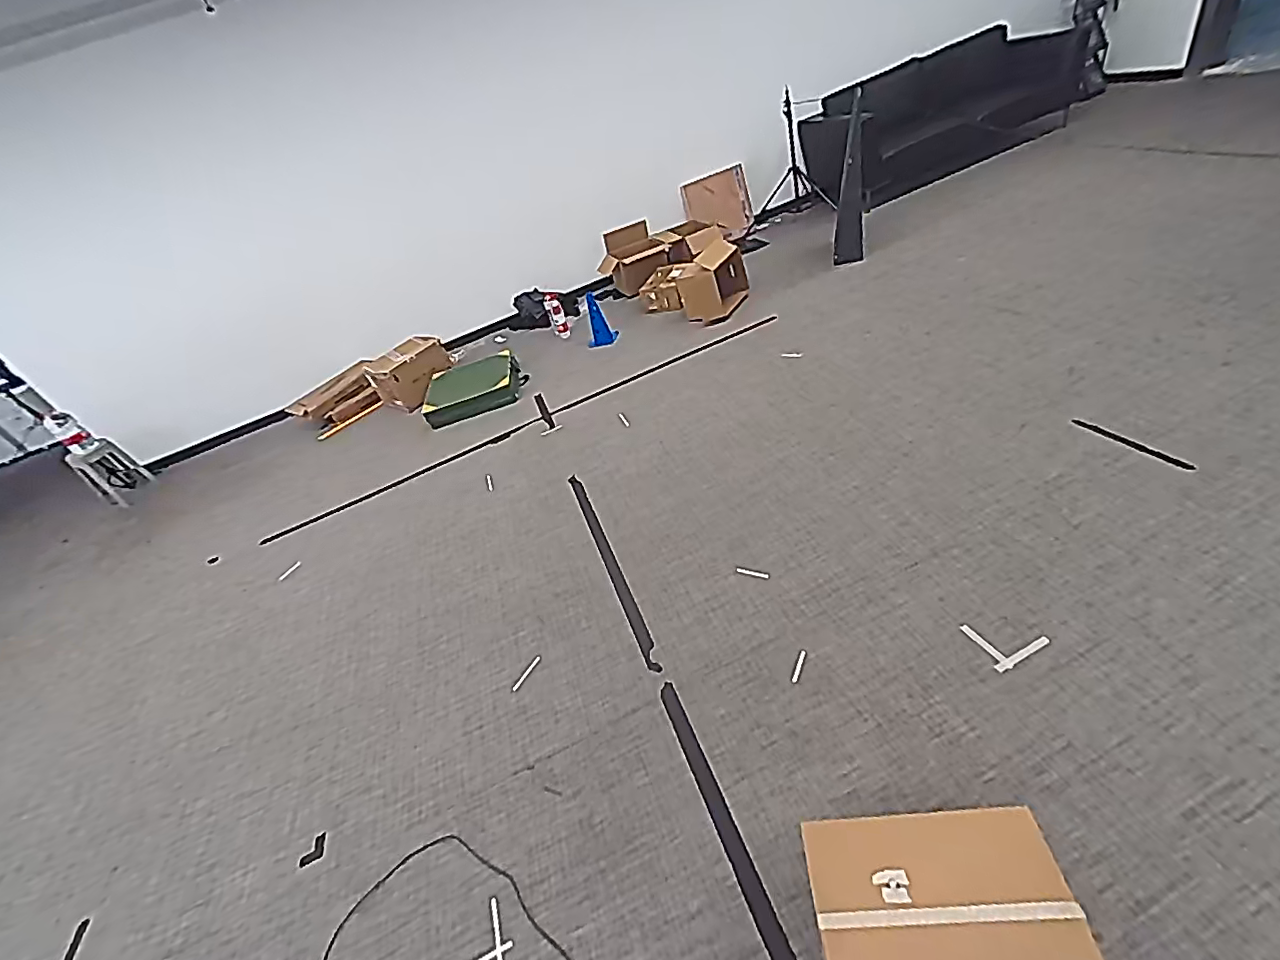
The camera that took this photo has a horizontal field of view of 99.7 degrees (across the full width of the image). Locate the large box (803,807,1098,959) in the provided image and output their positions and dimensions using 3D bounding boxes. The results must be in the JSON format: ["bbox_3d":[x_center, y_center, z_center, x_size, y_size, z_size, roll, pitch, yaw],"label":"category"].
[{"bbox_3d":[0.547,0.843,0.983,0.408,0.320,0.320,-13,35,11],"label":"large box"}]
